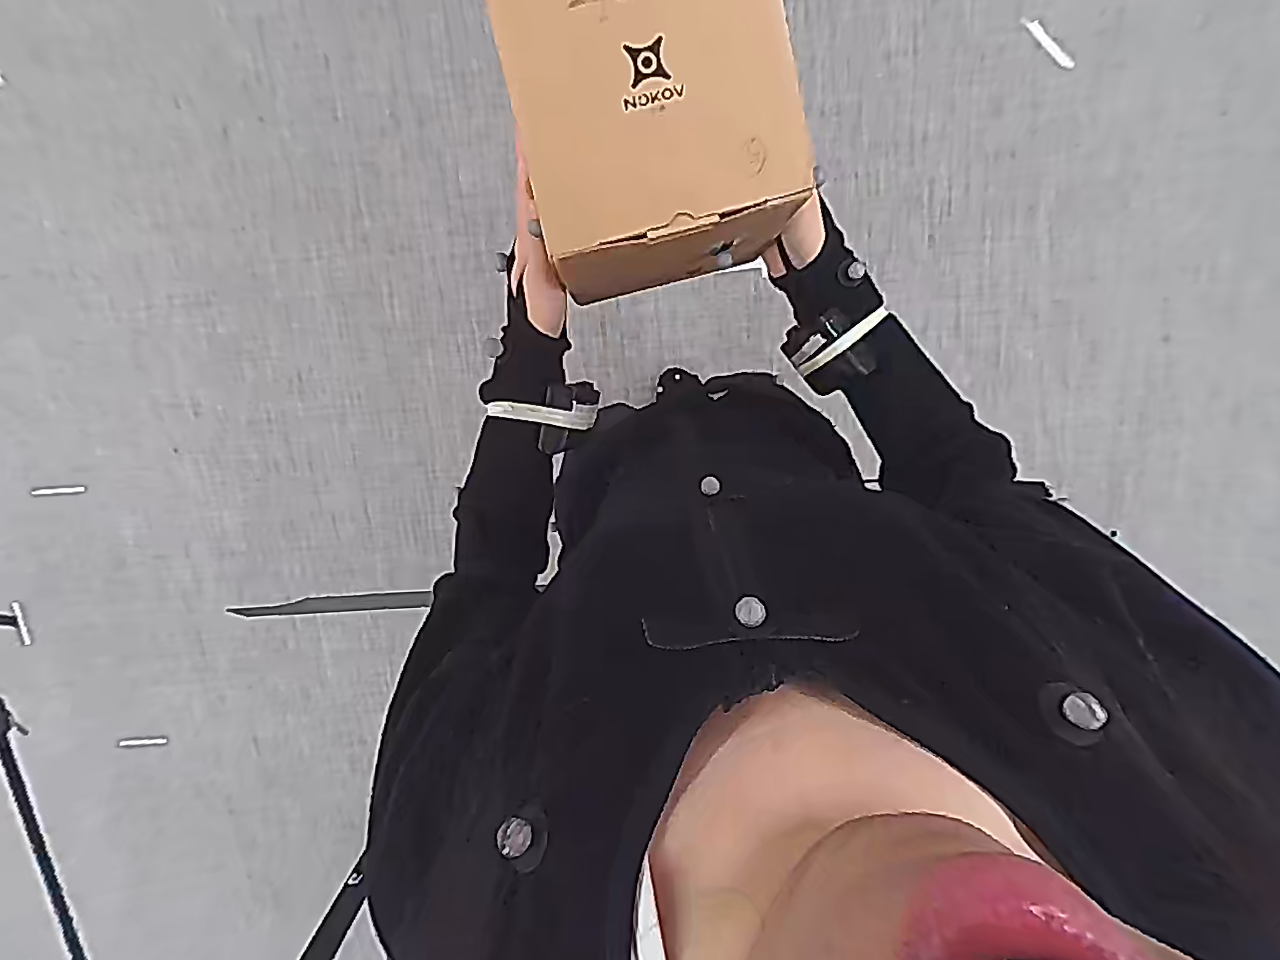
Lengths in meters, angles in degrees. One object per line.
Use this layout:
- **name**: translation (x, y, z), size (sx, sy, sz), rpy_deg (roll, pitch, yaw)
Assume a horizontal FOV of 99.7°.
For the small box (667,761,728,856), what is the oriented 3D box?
- **small box**: translation (0.165, 0.958, 1.586), size (0.168, 0.176, 0.179), rpy_deg (-3, 101, 2)
